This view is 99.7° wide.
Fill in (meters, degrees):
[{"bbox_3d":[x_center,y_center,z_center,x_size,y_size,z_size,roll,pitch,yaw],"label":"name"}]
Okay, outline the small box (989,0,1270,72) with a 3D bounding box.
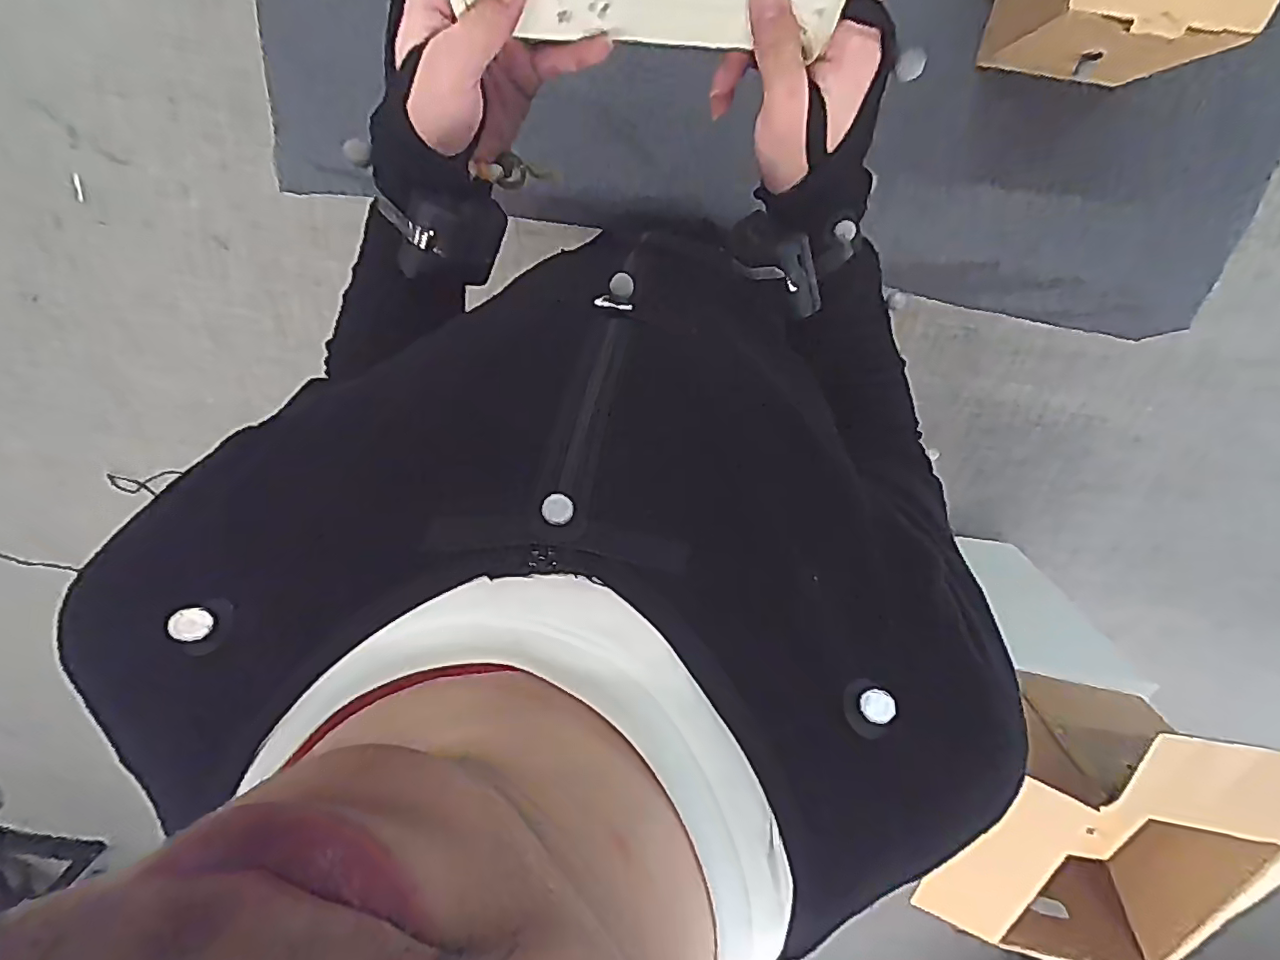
[{"bbox_3d":[0.463,-0.504,0.497,0.168,0.176,0.179,9,117,1],"label":"small box"}]
